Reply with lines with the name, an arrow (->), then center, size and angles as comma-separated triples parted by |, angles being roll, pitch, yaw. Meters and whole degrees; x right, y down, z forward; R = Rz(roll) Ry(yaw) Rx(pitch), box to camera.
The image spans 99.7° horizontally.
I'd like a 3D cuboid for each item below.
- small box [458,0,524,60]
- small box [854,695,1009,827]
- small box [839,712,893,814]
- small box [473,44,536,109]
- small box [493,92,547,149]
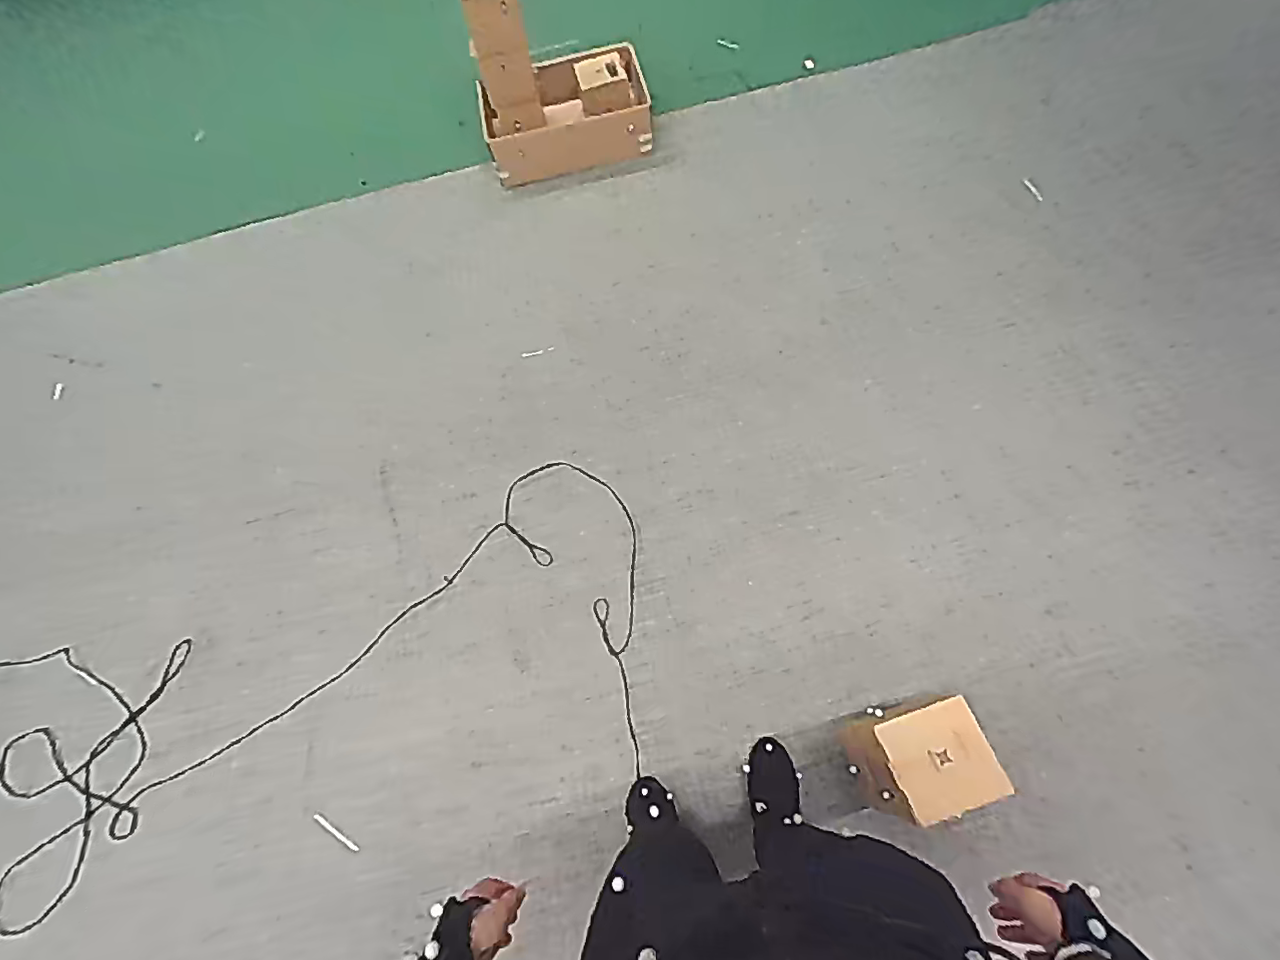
small box -> -0.486, -1.524, 1.767 | 0.179, 0.176, 0.168 | -14, 66, 0
small box -> 0.525, 0.517, 1.011 | 0.179, 0.176, 0.168 | -19, 67, -4
small box -> 0.544, 0.590, 1.156 | 0.179, 0.176, 0.168 | -17, 66, -1
small box -> -0.482, -1.459, 1.920 | 0.179, 0.176, 0.168 | -13, 67, -1
small box -> -0.464, -1.405, 2.074 | 0.168, 0.176, 0.179 | -14, 67, -1
